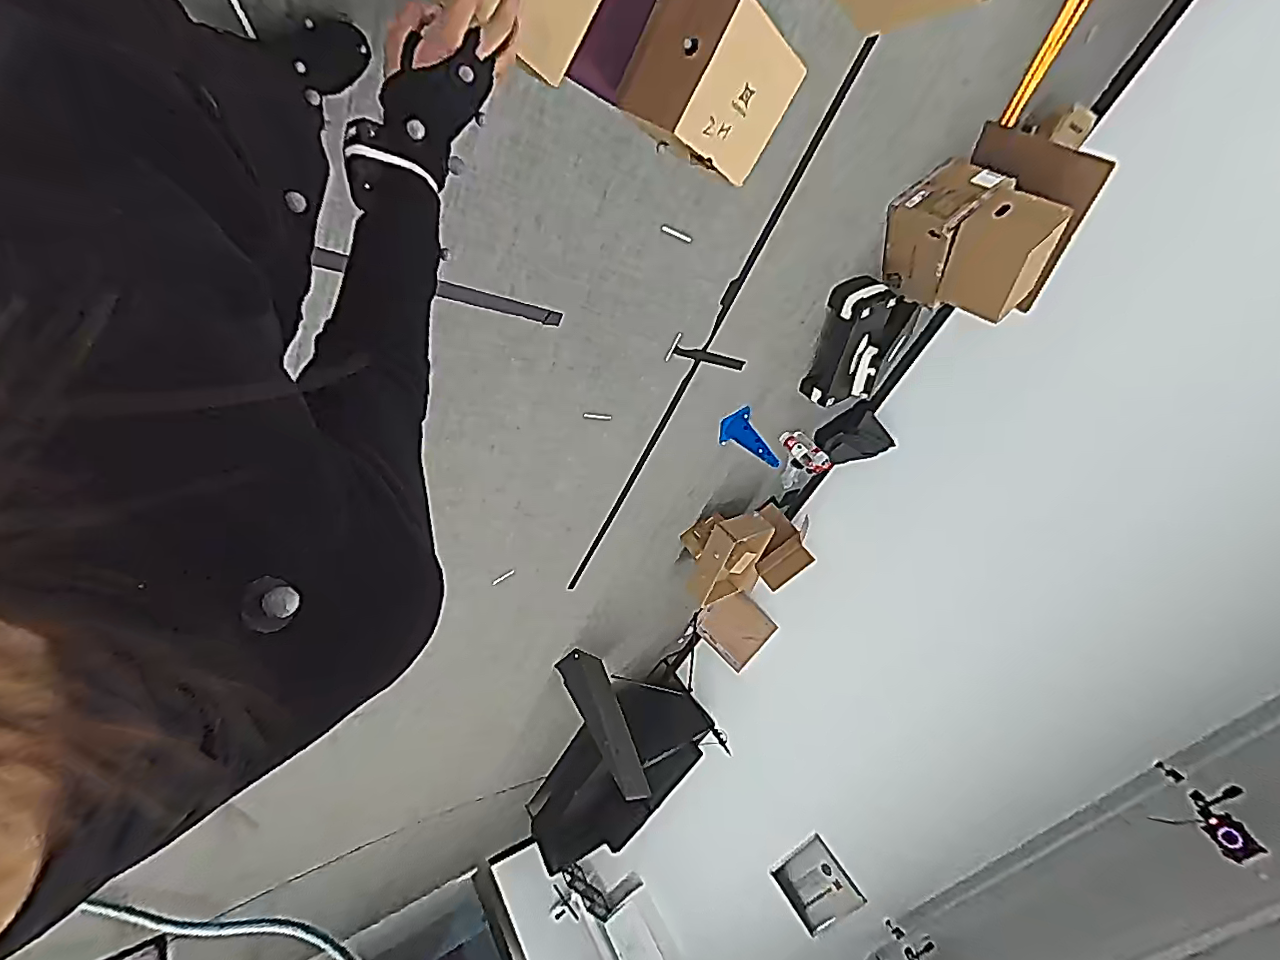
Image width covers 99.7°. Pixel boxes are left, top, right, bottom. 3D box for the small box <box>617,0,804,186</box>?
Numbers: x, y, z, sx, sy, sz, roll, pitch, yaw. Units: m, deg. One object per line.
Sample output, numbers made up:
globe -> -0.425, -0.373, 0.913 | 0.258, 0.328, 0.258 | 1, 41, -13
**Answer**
small box -> 0.095, -0.576, 0.789 | 0.168, 0.176, 0.179 | 5, 125, -47
